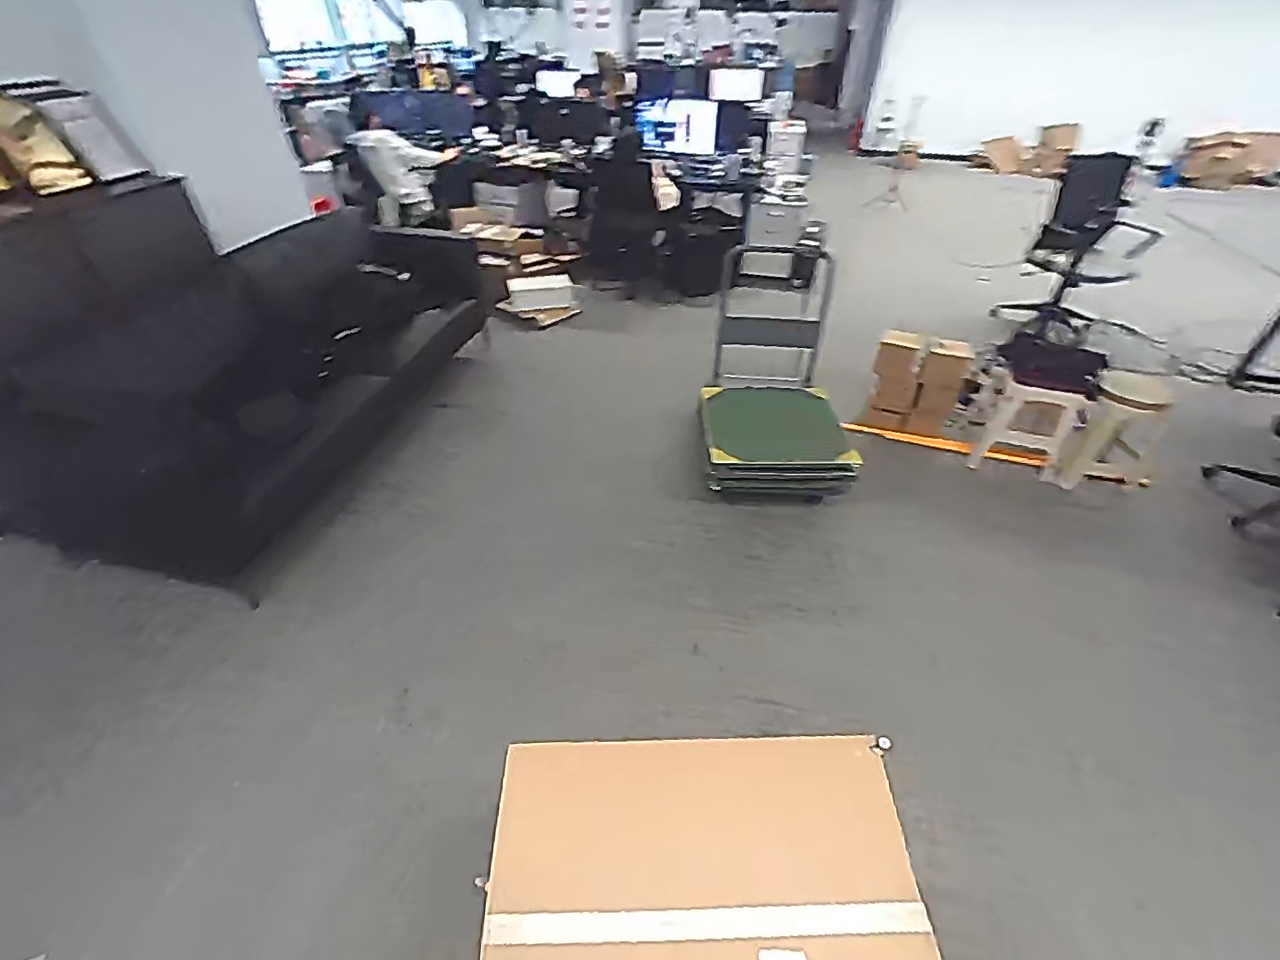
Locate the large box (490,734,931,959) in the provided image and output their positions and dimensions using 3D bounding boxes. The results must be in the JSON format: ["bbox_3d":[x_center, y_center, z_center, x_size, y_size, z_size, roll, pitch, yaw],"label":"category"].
[{"bbox_3d":[0.061,0.508,0.613,0.408,0.320,0.320,-2,50,-1],"label":"large box"}]
